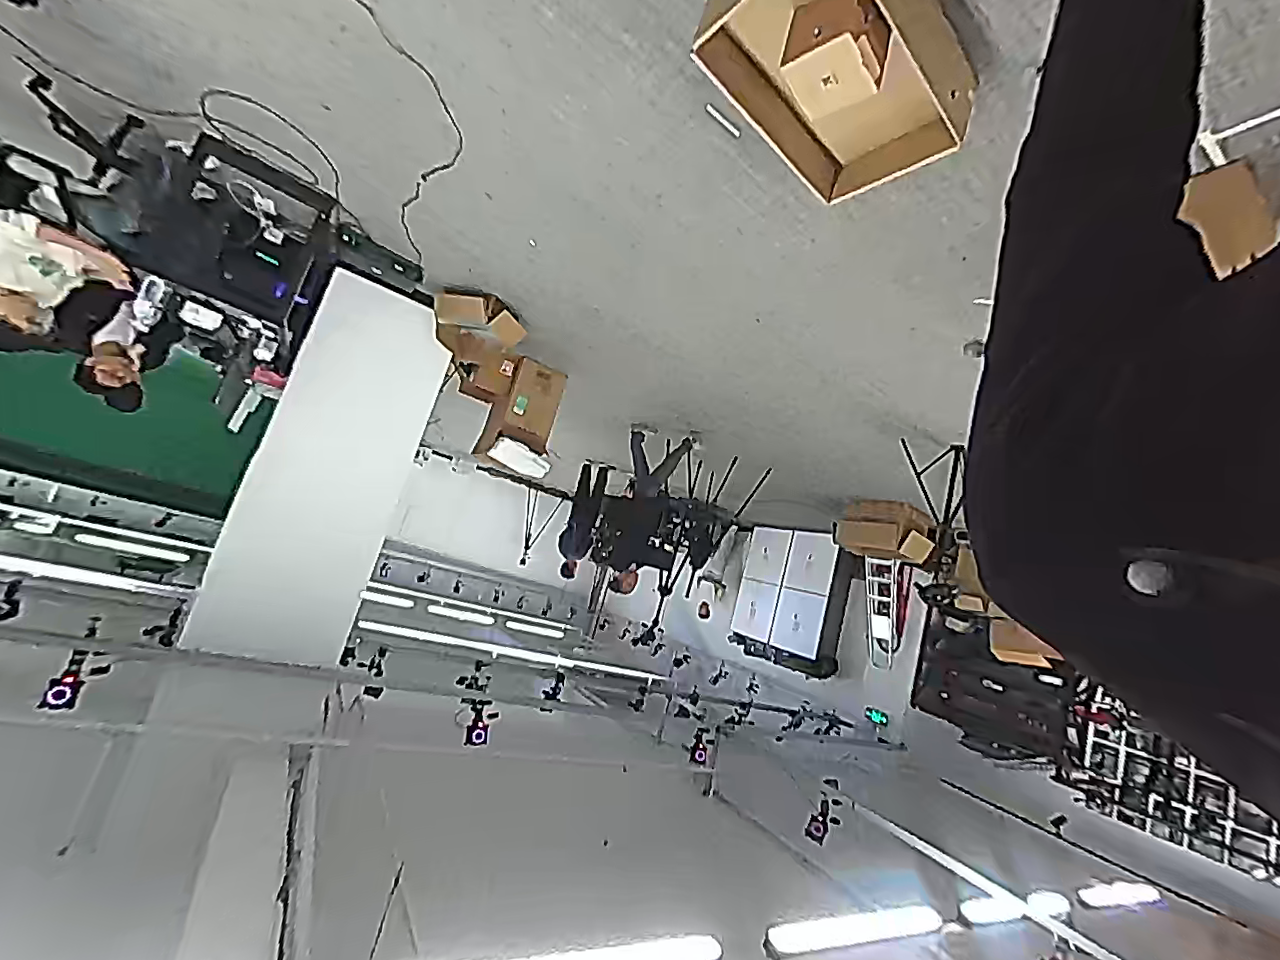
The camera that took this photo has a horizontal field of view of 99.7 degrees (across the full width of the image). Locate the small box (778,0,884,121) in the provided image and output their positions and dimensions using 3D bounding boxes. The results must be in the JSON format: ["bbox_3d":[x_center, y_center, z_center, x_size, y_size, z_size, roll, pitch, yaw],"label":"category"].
[{"bbox_3d":[0.450,-0.995,1.253,0.179,0.176,0.168,6,166,45],"label":"small box"}]
